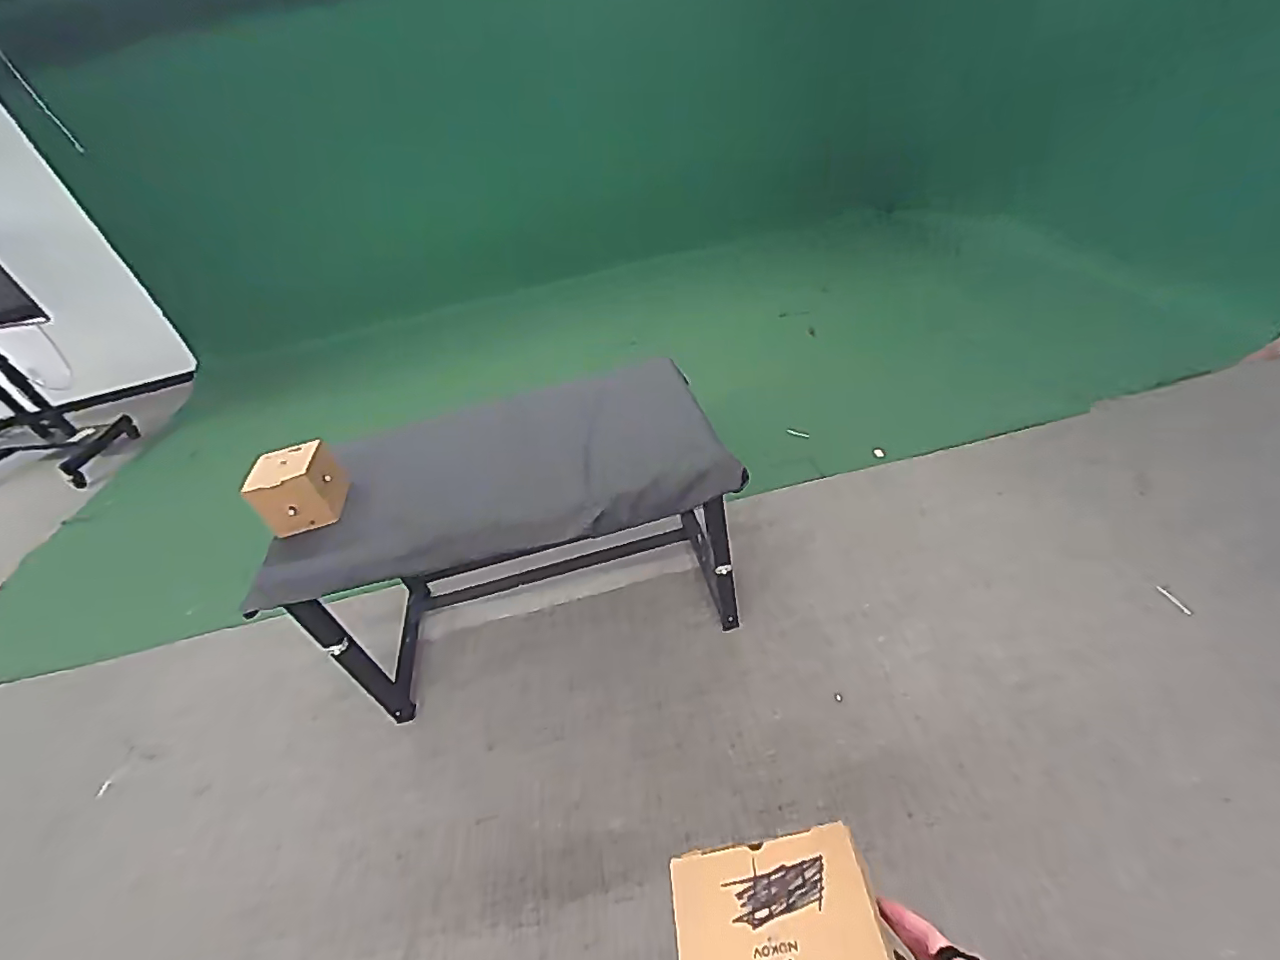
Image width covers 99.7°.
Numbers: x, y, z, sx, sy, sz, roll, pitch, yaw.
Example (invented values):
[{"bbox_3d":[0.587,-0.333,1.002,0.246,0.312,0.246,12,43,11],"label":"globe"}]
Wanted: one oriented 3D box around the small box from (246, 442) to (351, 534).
[{"bbox_3d":[-0.918,0.029,1.475,0.168,0.176,0.179,-16,39,-5],"label":"small box"}]
